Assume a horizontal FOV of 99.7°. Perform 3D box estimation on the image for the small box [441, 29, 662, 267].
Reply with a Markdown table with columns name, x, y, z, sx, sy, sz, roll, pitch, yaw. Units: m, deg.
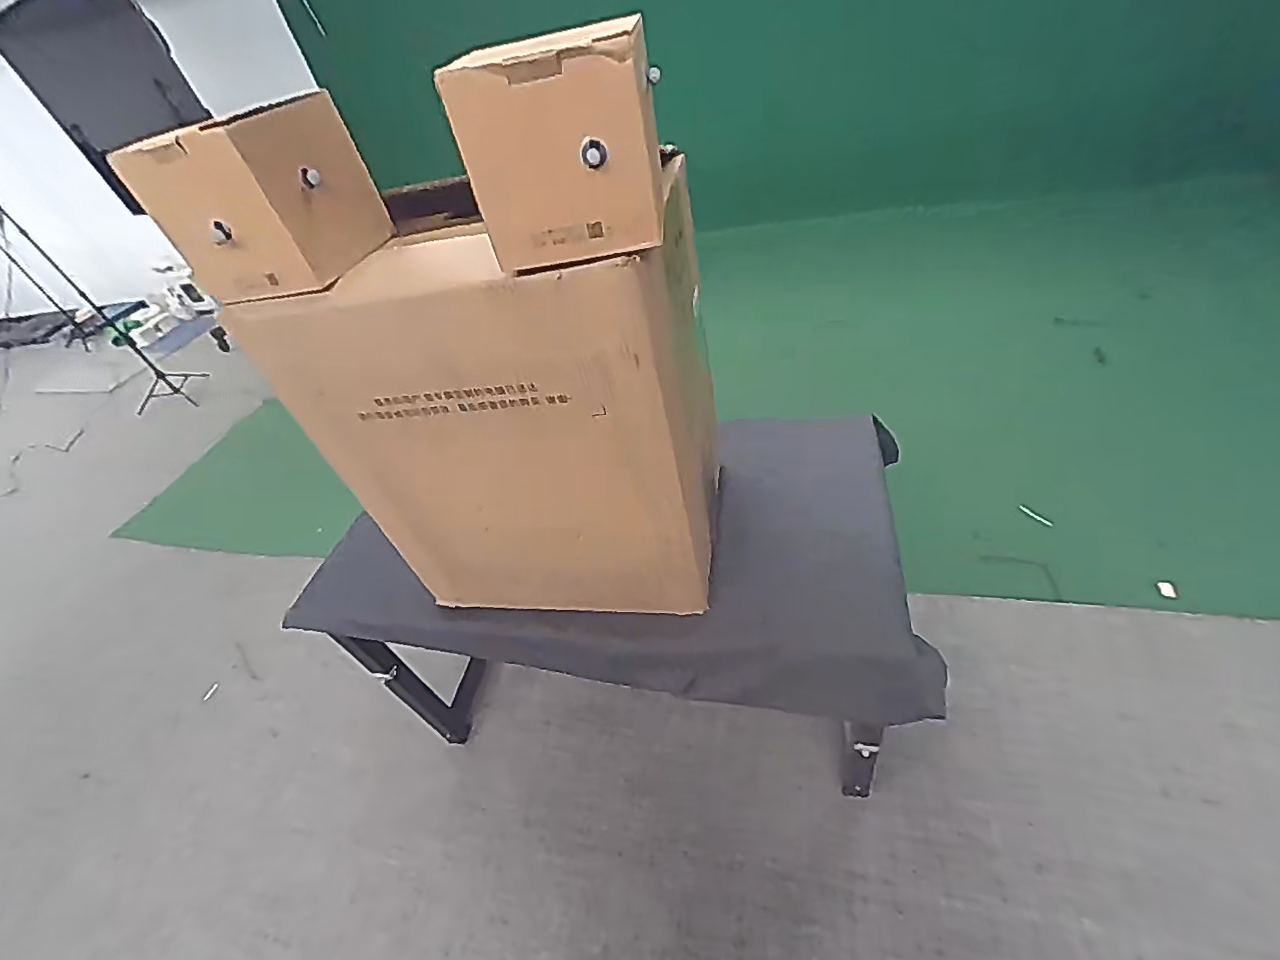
| name | x | y | z | sx | sy | sz | roll | pitch | yaw |
| --- | --- | --- | --- | --- | --- | --- | --- | --- | --- |
| small box | -0.069 | -0.326 | 0.546 | 0.168 | 0.176 | 0.179 | -5 | 42 | 7 |

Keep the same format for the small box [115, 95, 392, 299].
| name | x | y | z | sx | sy | sz | roll | pitch | yaw |
| --- | --- | --- | --- | --- | --- | --- | --- | --- | --- |
| small box | -0.439 | -0.331 | 0.652 | 0.168 | 0.176 | 0.179 | -1 | 44 | 15 |
